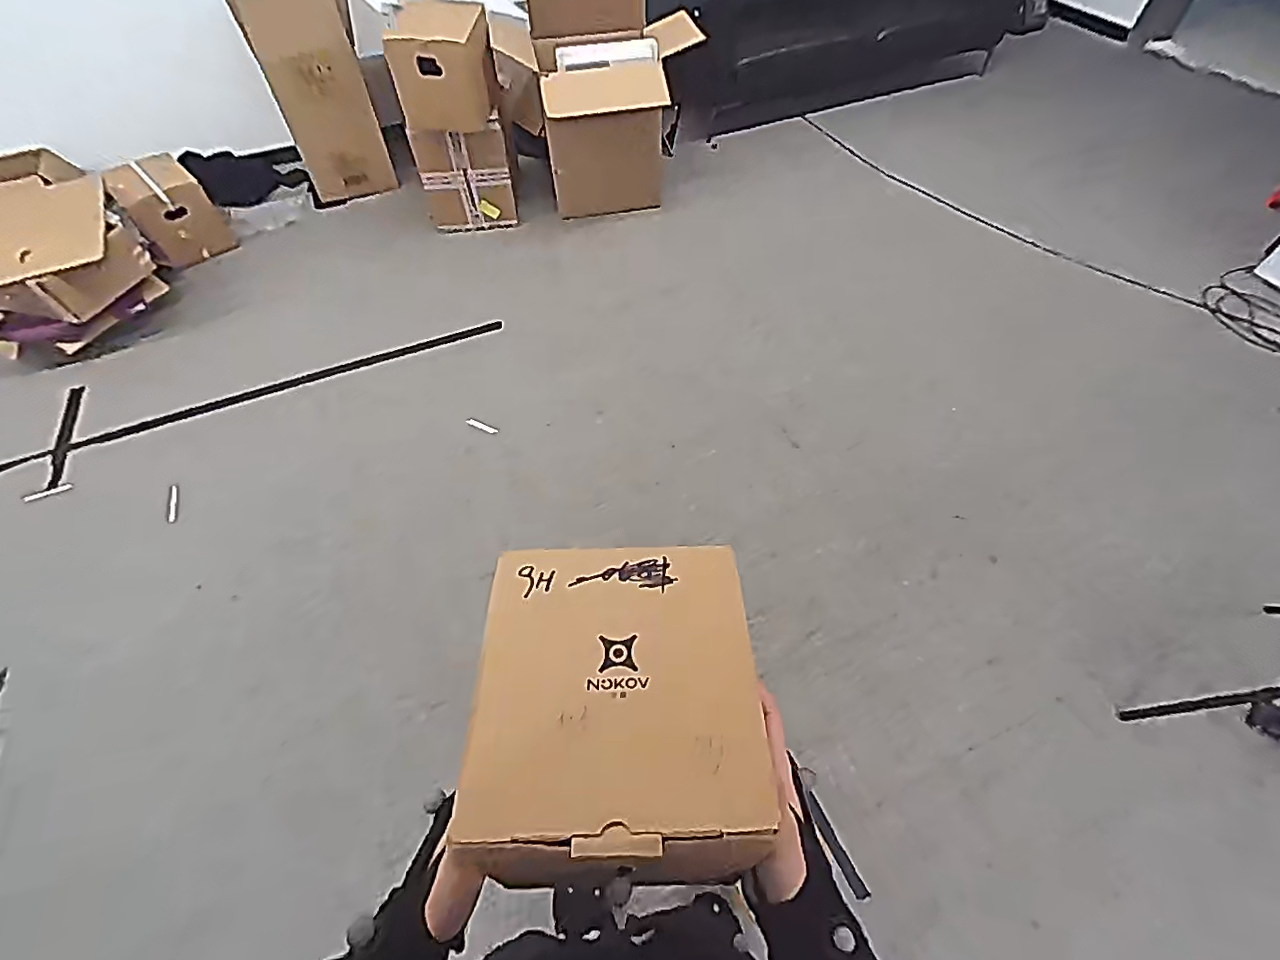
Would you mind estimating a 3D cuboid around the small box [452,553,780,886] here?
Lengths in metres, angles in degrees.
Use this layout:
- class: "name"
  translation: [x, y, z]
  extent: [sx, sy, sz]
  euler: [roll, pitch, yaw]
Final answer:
- class: "small box"
  translation: [-0.012, 0.170, 0.376]
  extent: [0.168, 0.176, 0.179]
  euler: [-1, 48, -1]

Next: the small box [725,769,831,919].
- class: "small box"
  translation: [0.221, 0.680, 1.016]
  extent: [0.168, 0.176, 0.179]
  euler: [-22, 57, -13]
